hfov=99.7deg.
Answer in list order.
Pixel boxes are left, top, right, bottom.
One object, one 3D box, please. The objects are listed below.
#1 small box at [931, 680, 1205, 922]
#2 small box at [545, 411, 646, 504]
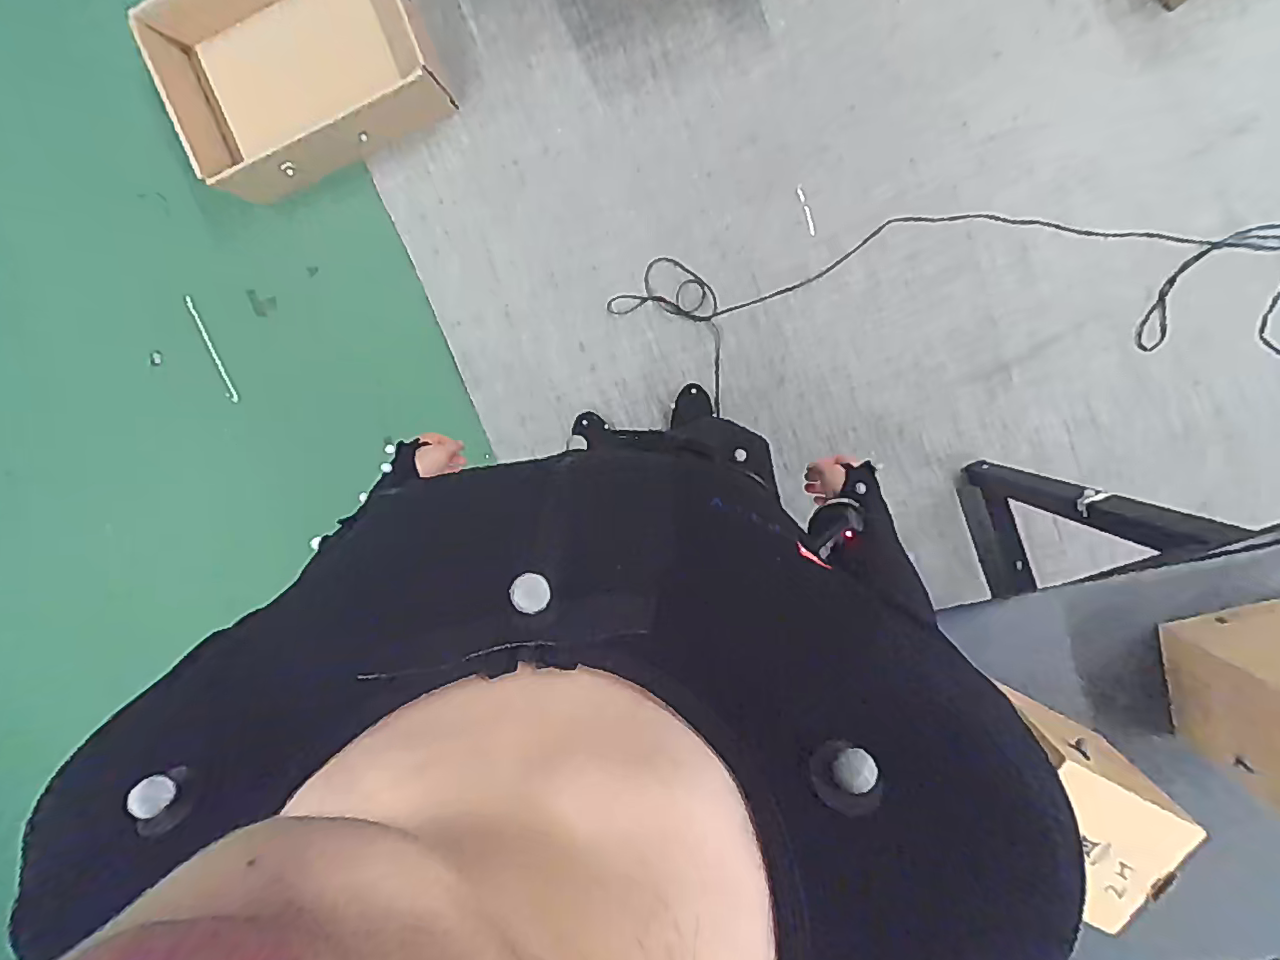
[{"bbox_3d":[0.513,0.386,0.685,0.179,0.176,0.168,27,102,0],"label":"small box"},{"bbox_3d":[-0.109,-0.056,1.384,0.176,0.168,0.179,32,76,-28],"label":"small box"}]
